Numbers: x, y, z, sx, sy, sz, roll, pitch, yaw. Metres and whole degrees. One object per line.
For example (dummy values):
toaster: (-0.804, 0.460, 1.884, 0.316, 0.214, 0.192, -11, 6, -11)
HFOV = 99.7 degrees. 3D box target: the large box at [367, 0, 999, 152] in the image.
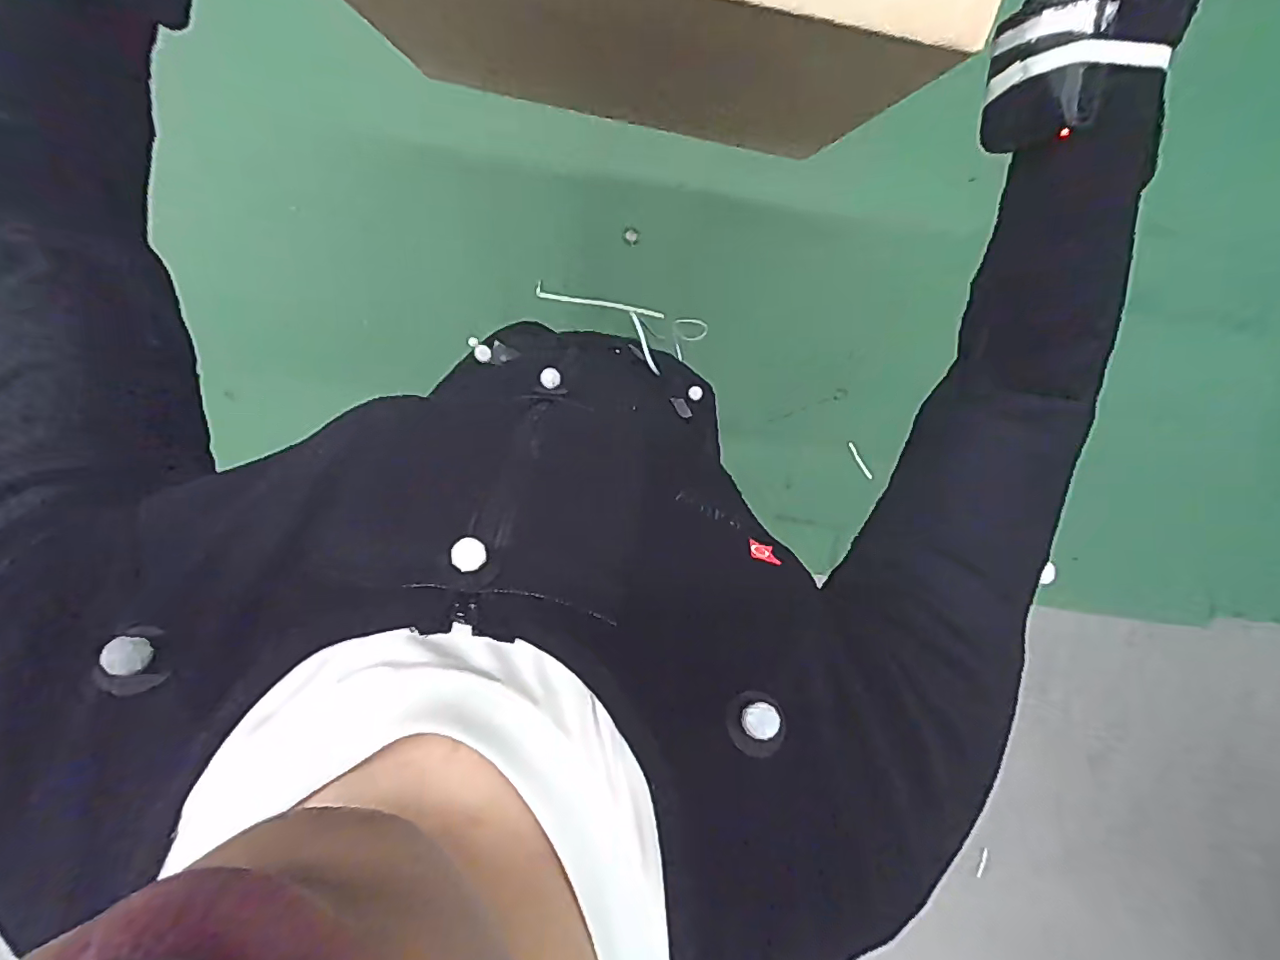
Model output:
large box: (0.016, -0.465, 0.373, 0.408, 0.320, 0.320, 9, 111, -6)
